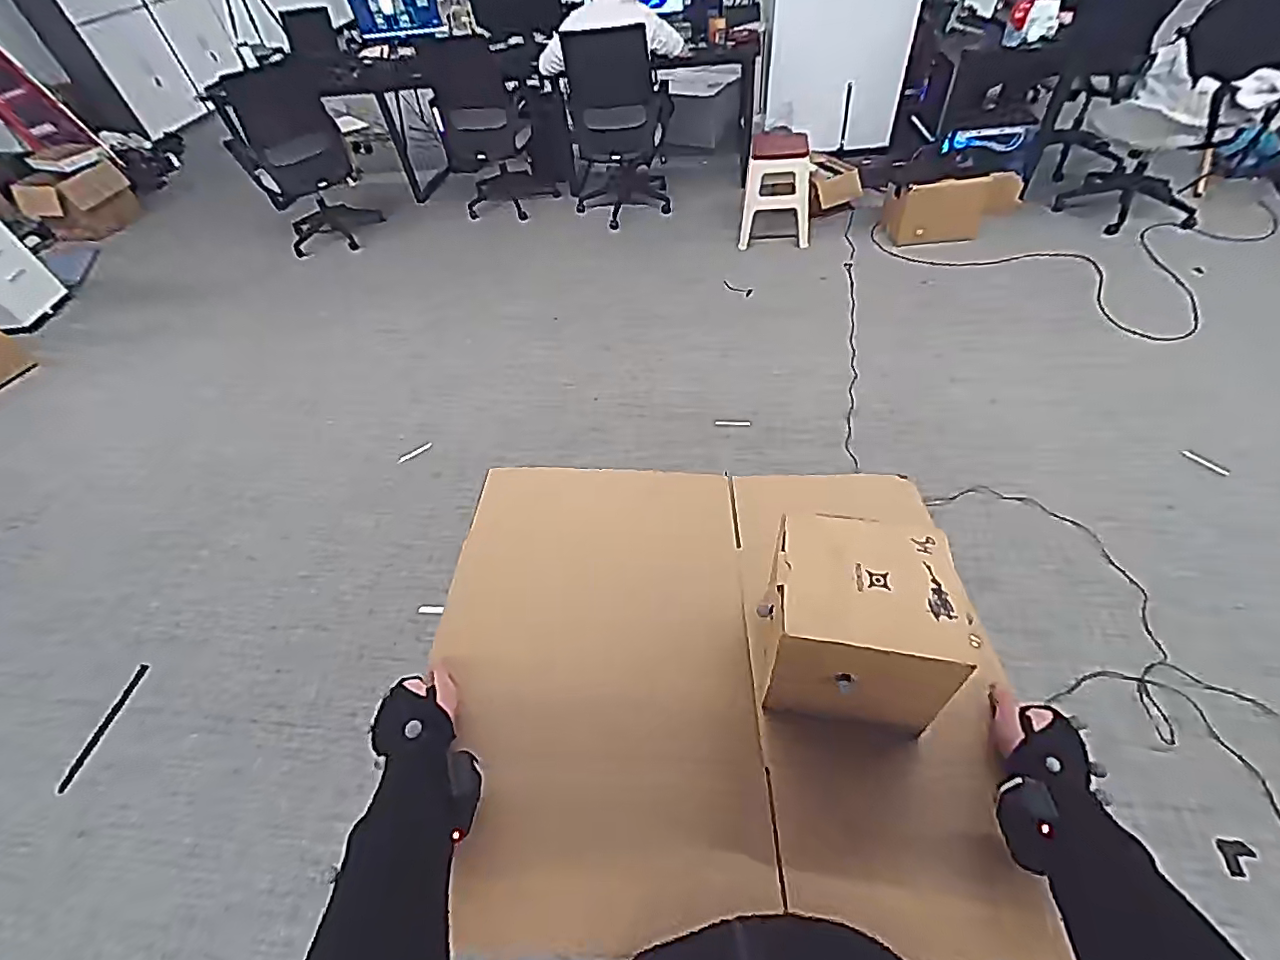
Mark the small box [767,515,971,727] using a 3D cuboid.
[{"bbox_3d":[0.243,0.162,0.622,0.179,0.176,0.168,6,46,11],"label":"small box"}]
